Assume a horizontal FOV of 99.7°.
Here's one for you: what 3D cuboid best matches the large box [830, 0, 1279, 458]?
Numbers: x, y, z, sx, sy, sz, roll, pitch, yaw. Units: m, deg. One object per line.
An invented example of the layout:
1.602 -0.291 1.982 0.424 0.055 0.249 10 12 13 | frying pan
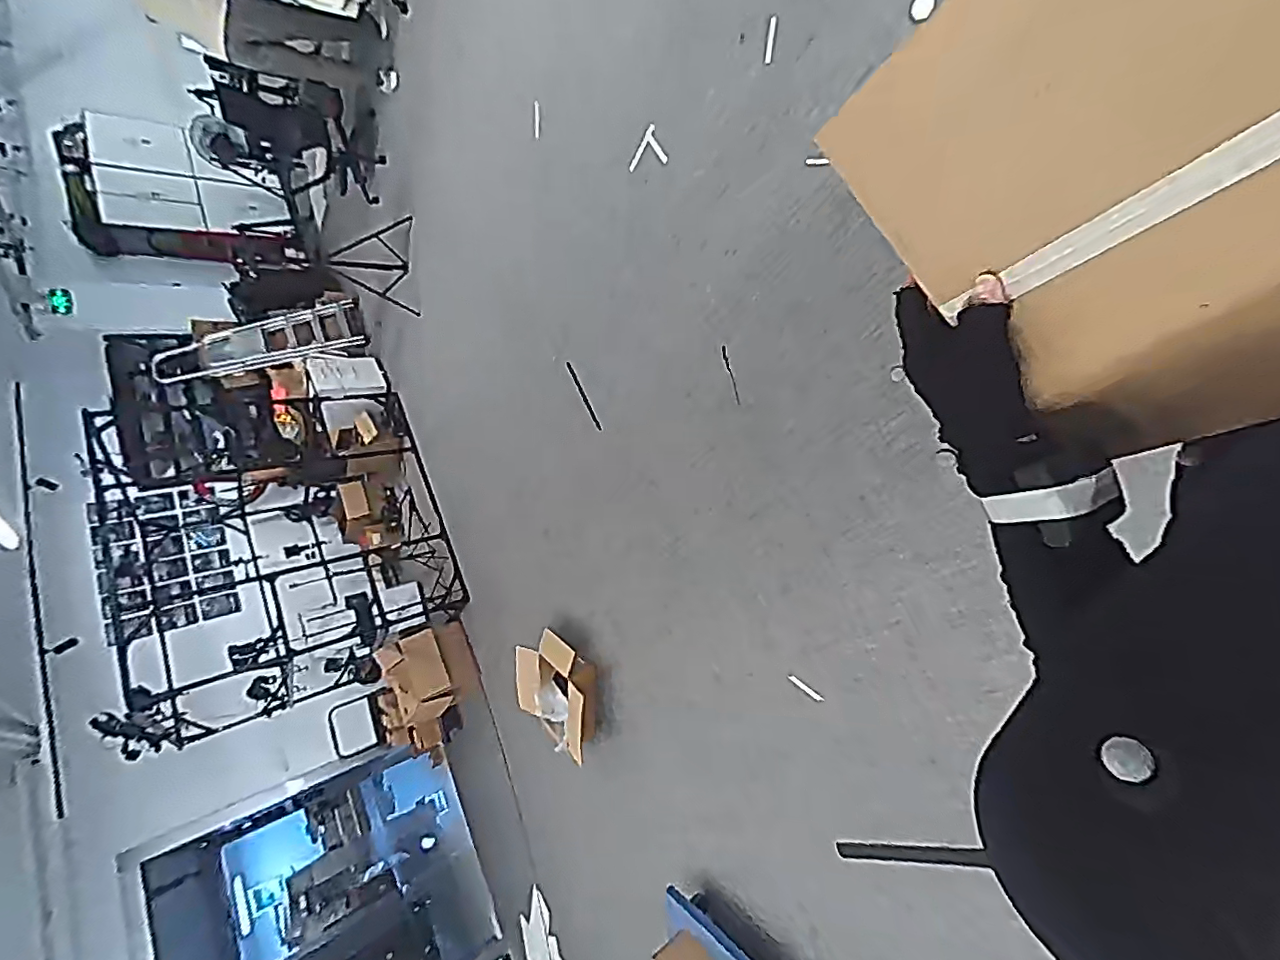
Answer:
0.409 -0.275 0.326 0.320 0.320 0.408 47 146 -10 | large box
